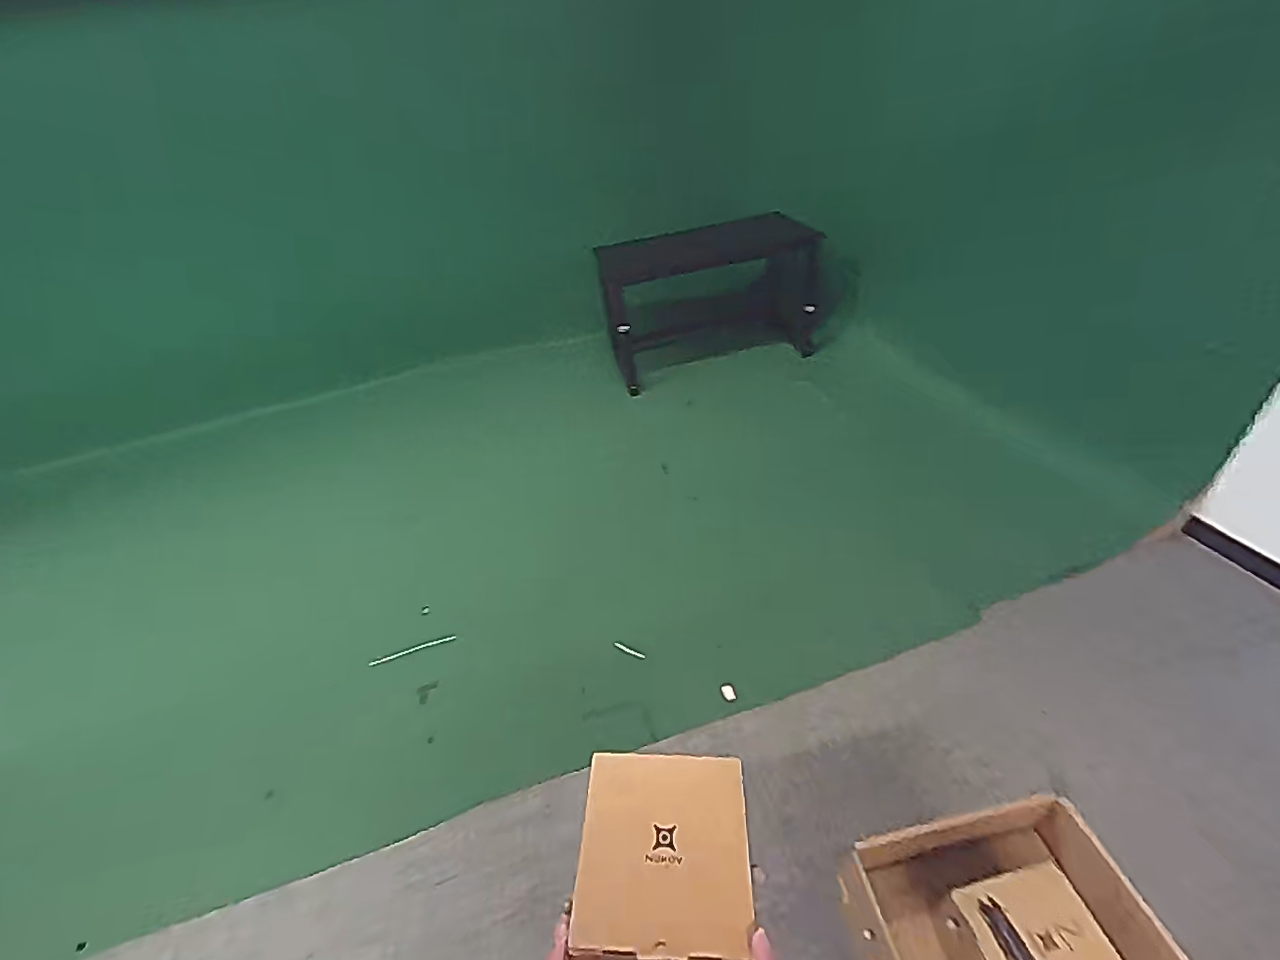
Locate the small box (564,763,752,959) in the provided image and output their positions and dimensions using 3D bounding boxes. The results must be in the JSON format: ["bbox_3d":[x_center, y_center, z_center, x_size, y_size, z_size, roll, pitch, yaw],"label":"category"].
[{"bbox_3d":[0.019,0.431,0.575,0.168,0.176,0.179,0,37,3],"label":"small box"}]
